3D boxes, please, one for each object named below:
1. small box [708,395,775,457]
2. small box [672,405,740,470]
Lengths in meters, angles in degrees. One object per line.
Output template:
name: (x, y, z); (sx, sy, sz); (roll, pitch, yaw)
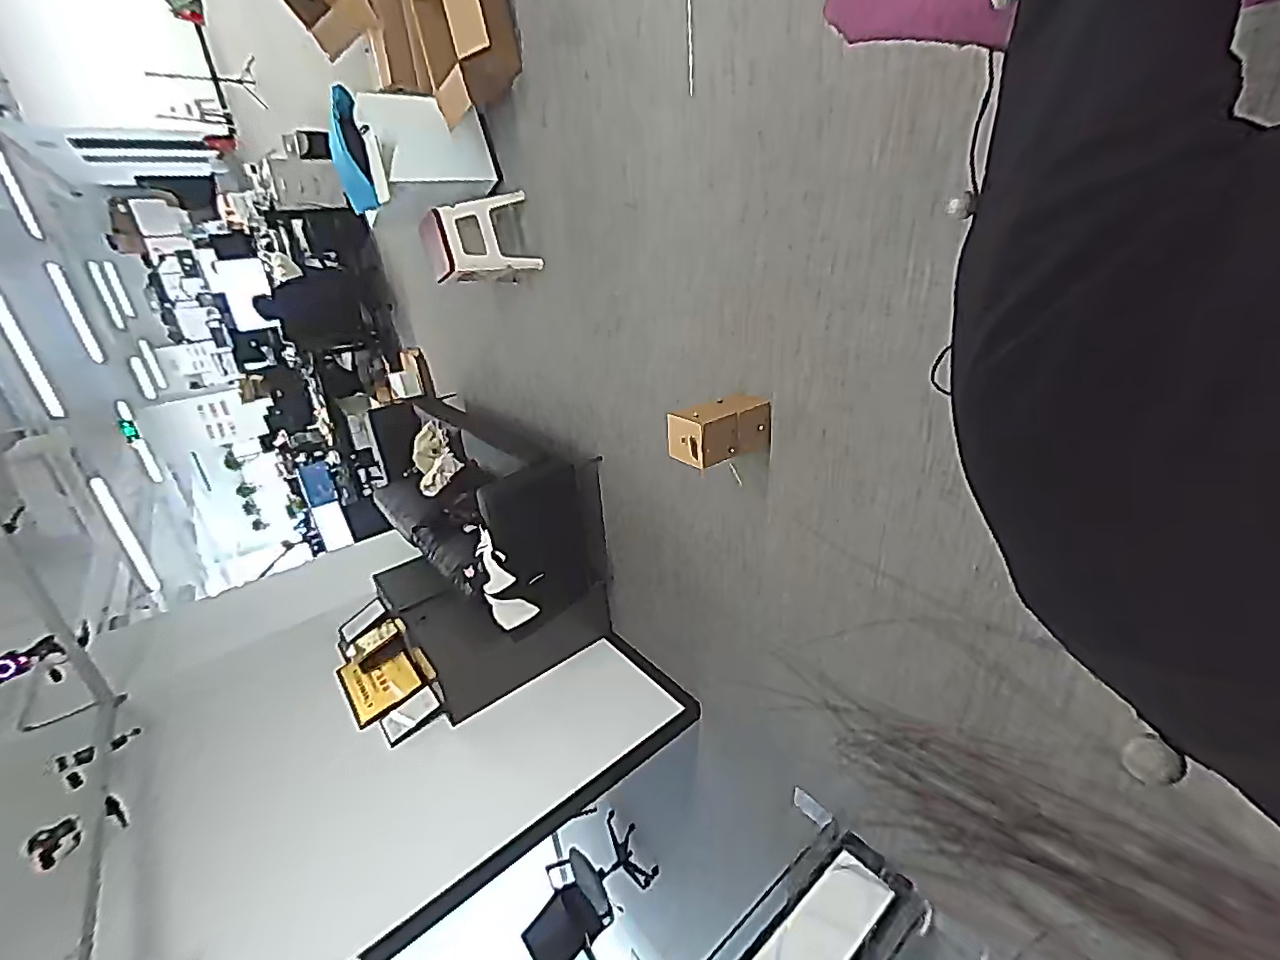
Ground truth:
small box: (0.366, -0.205, 1.973); (0.179, 0.176, 0.168); (26, 129, 45)
small box: (0.234, -0.155, 1.889); (0.179, 0.176, 0.168); (26, 129, 47)
